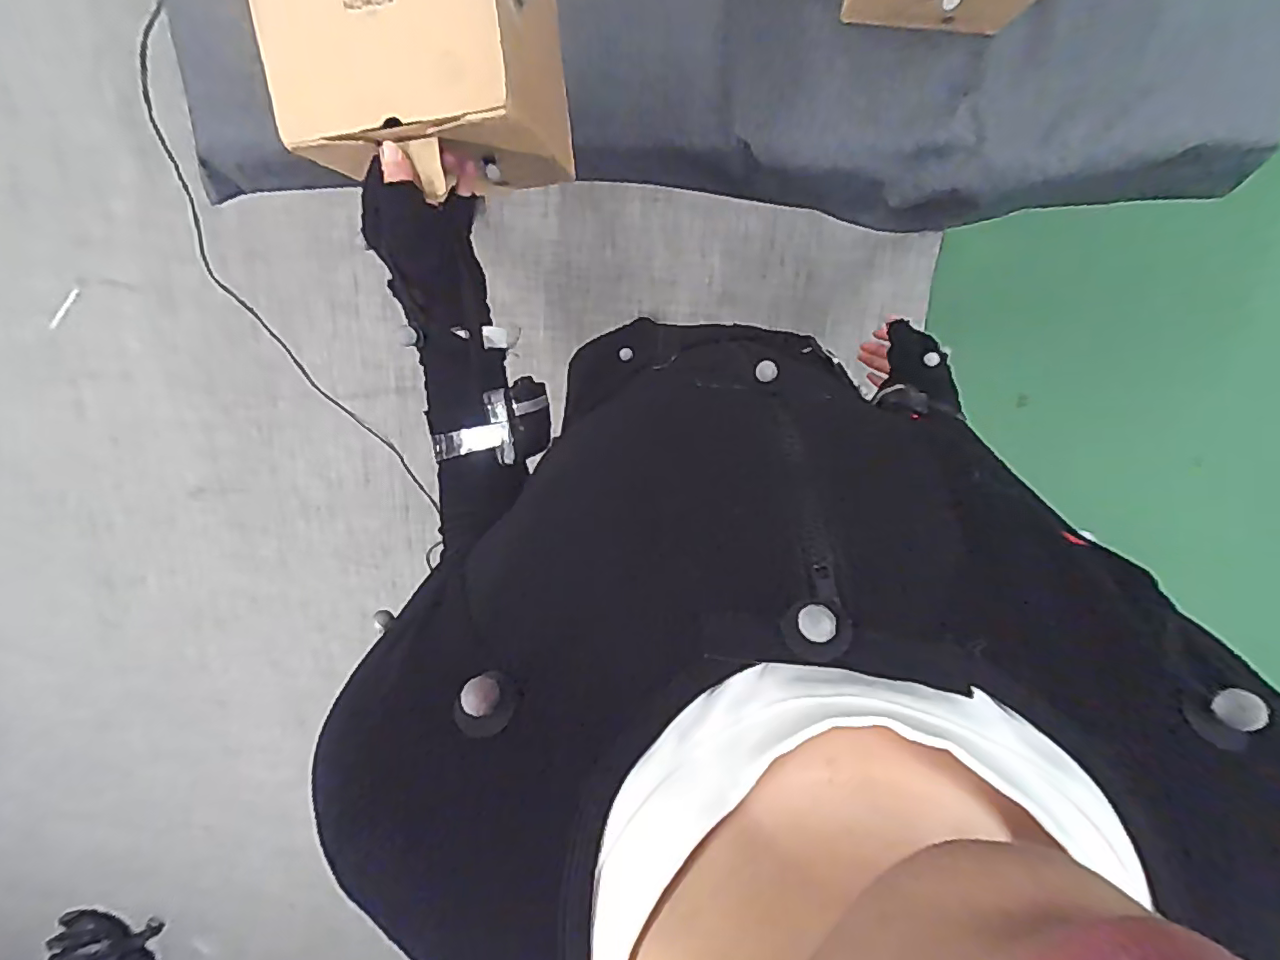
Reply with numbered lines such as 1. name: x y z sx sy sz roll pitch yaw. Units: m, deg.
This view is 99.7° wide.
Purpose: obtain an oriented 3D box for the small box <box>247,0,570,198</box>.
1. small box: -0.158 -0.329 0.409 0.168 0.176 0.179 -4 103 8
